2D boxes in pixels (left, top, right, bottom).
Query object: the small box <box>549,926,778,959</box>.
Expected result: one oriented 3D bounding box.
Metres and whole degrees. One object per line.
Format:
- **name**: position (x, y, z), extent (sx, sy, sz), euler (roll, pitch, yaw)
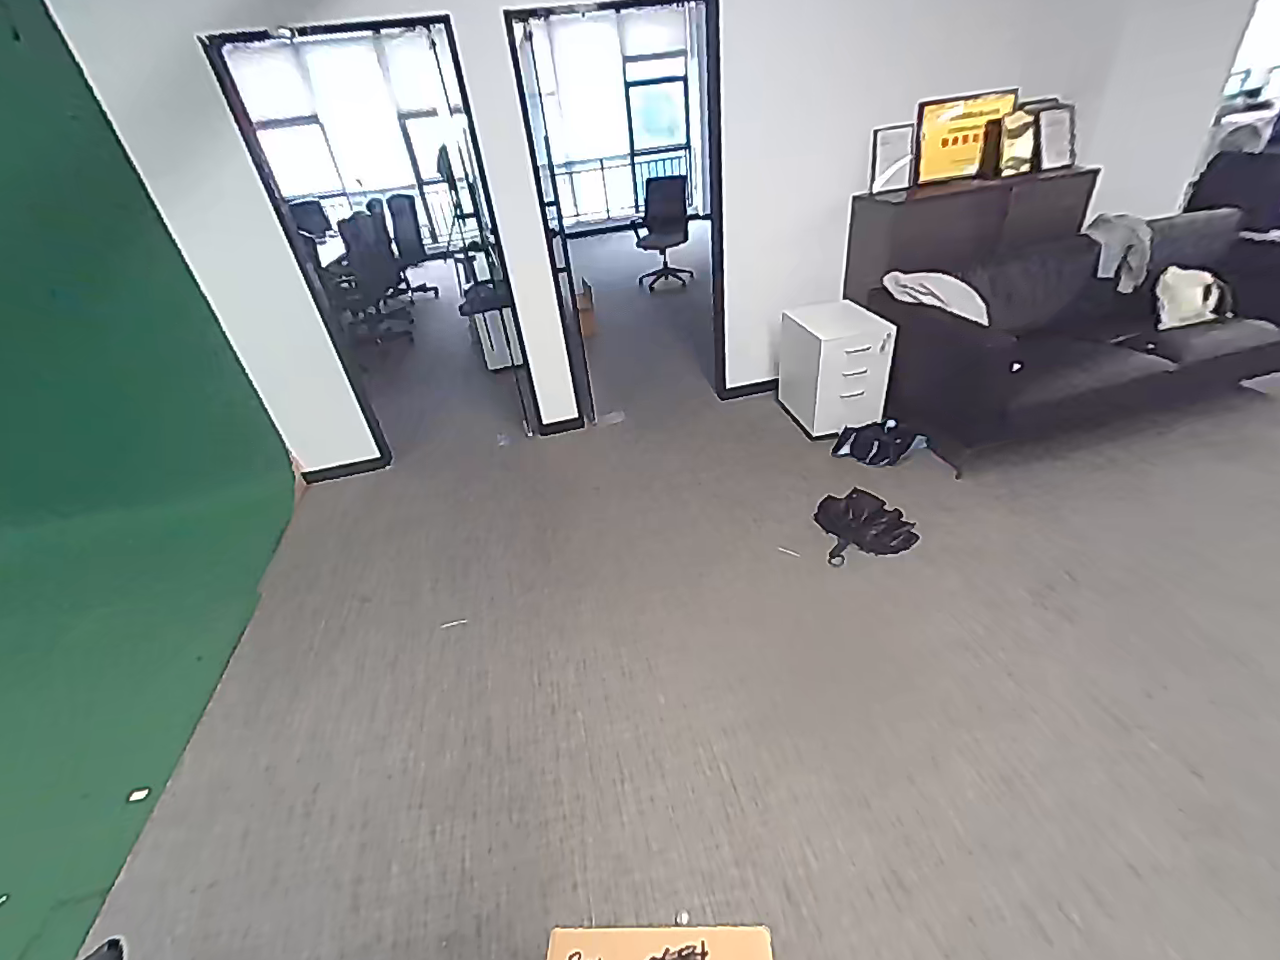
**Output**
- **small box**: position (0.023, 0.443, 0.376), extent (0.168, 0.176, 0.179), euler (-4, 37, 4)
